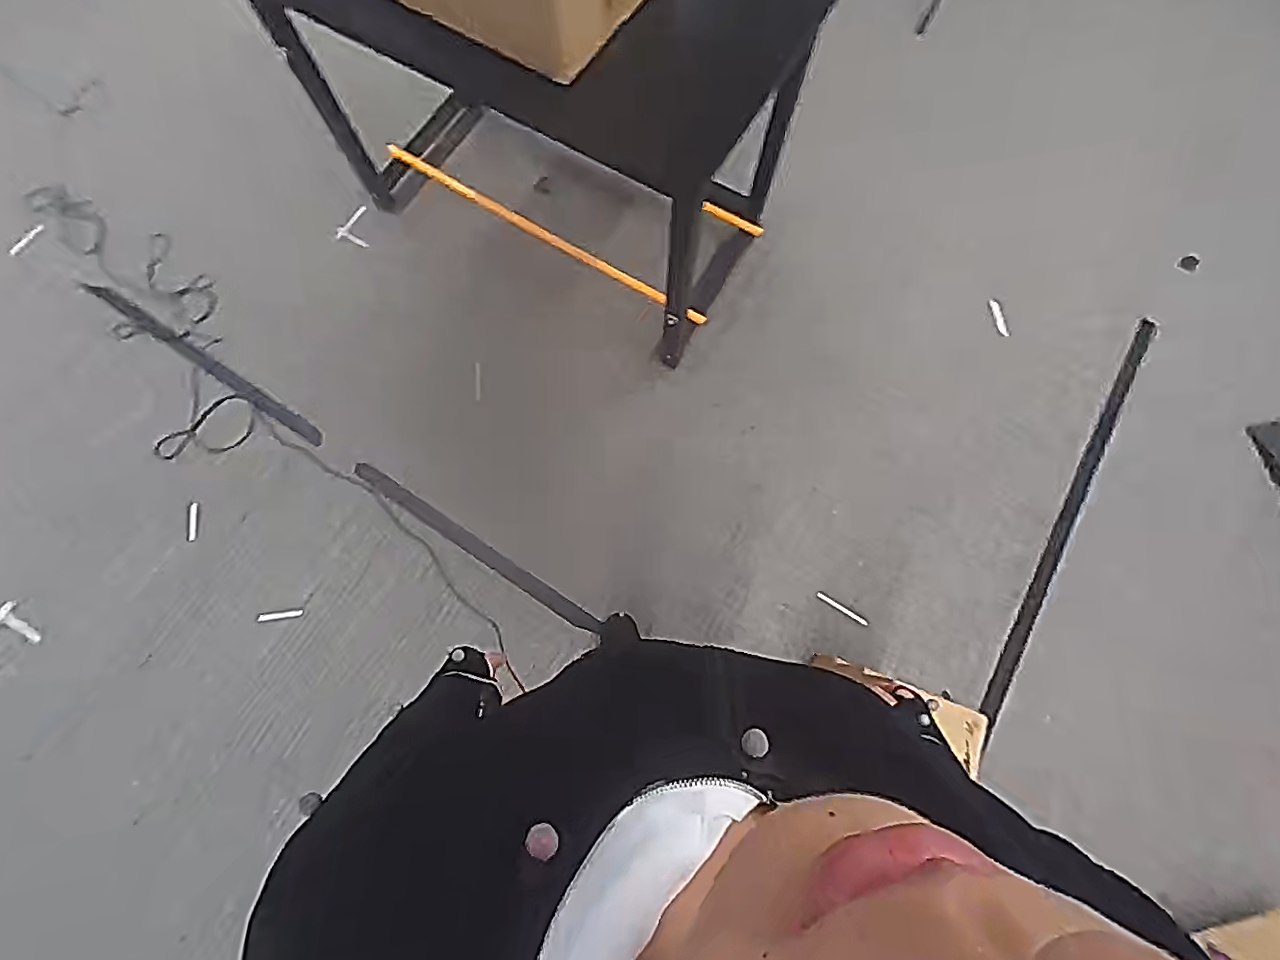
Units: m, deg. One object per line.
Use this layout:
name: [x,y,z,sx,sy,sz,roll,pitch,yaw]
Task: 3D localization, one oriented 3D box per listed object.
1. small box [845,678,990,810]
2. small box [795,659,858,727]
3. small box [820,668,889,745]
small box: [0.519,0.490,1.034,0.179,0.176,0.168,21,75,6]
small box: [0.518,0.561,1.356,0.179,0.176,0.168,28,76,9]
small box: [0.528,0.526,1.195,0.179,0.176,0.168,23,75,6]
